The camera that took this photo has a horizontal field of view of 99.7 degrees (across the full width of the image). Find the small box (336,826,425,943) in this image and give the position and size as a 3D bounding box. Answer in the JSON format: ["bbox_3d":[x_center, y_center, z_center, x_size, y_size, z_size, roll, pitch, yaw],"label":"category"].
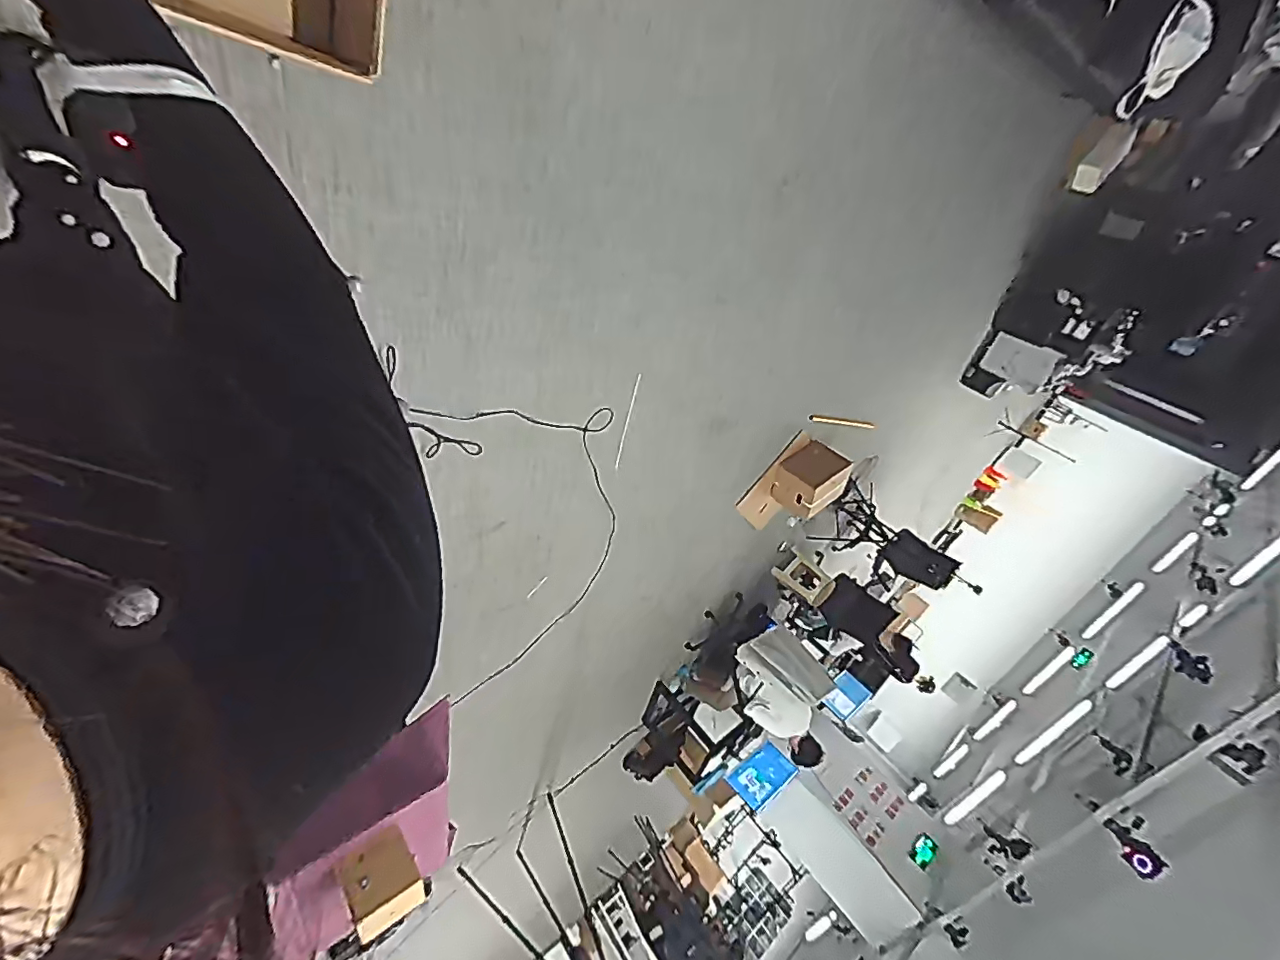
[{"bbox_3d":[-0.699,1.080,1.456,0.168,0.176,0.179,-20,139,-37],"label":"small box"}]
